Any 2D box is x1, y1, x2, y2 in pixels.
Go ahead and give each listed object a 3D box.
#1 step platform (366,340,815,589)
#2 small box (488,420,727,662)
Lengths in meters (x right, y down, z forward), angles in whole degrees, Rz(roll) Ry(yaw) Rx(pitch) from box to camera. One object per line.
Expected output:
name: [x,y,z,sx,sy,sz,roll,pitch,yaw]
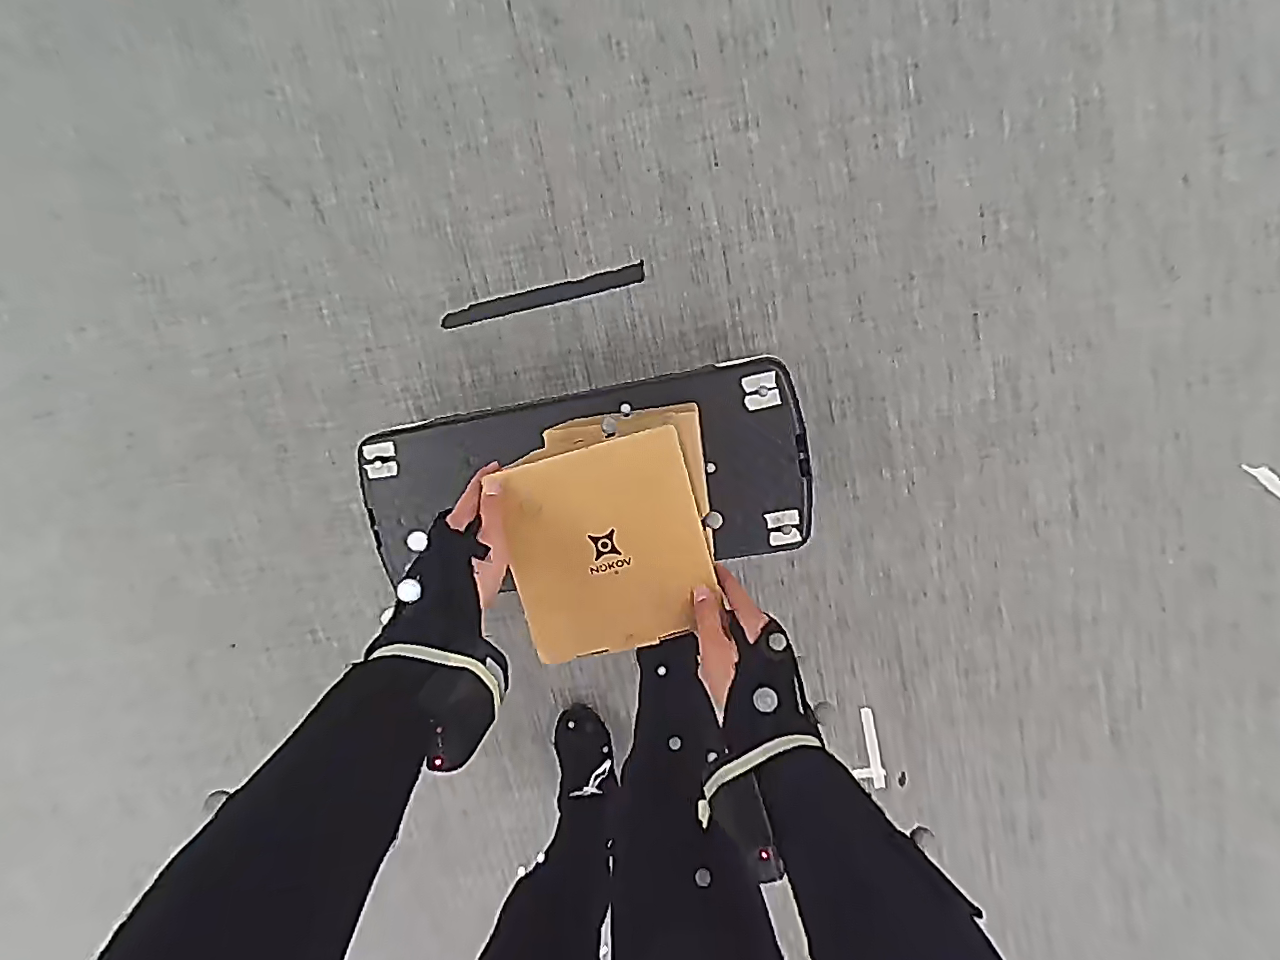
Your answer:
step platform: [-0.075,-0.022,0.873,0.684,0.204,0.286,-10,99,8]
small box: [-0.024,0.043,0.527,0.168,0.176,0.179,-15,100,5]
